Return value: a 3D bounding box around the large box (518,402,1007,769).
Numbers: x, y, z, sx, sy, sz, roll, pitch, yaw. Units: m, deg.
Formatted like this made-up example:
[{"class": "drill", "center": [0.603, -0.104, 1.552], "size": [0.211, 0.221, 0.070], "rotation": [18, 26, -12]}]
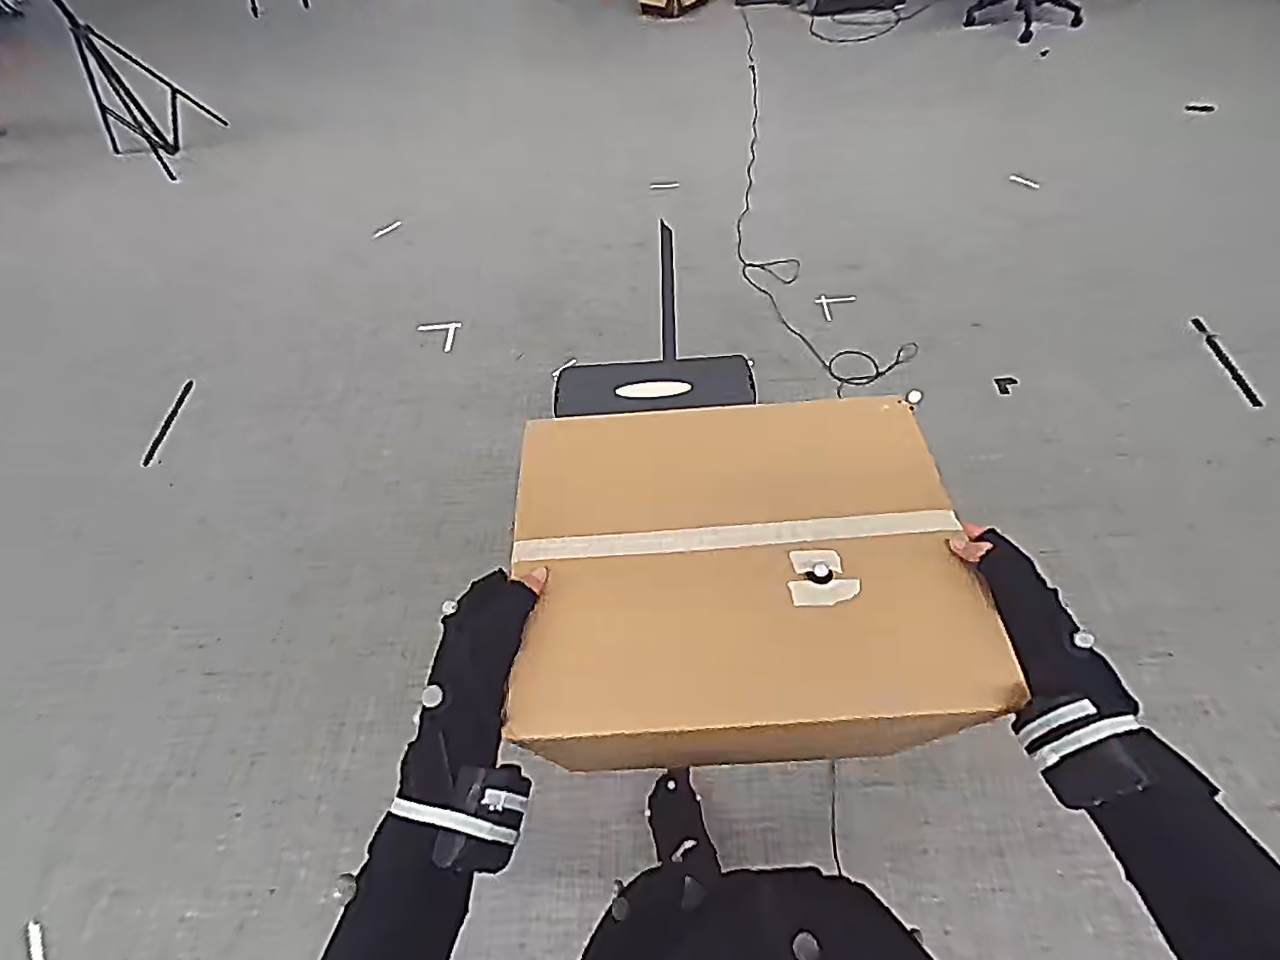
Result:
[{"class": "large box", "center": [0.095, 0.138, 0.636], "size": [0.408, 0.320, 0.320], "rotation": [-4, 57, 1]}]
